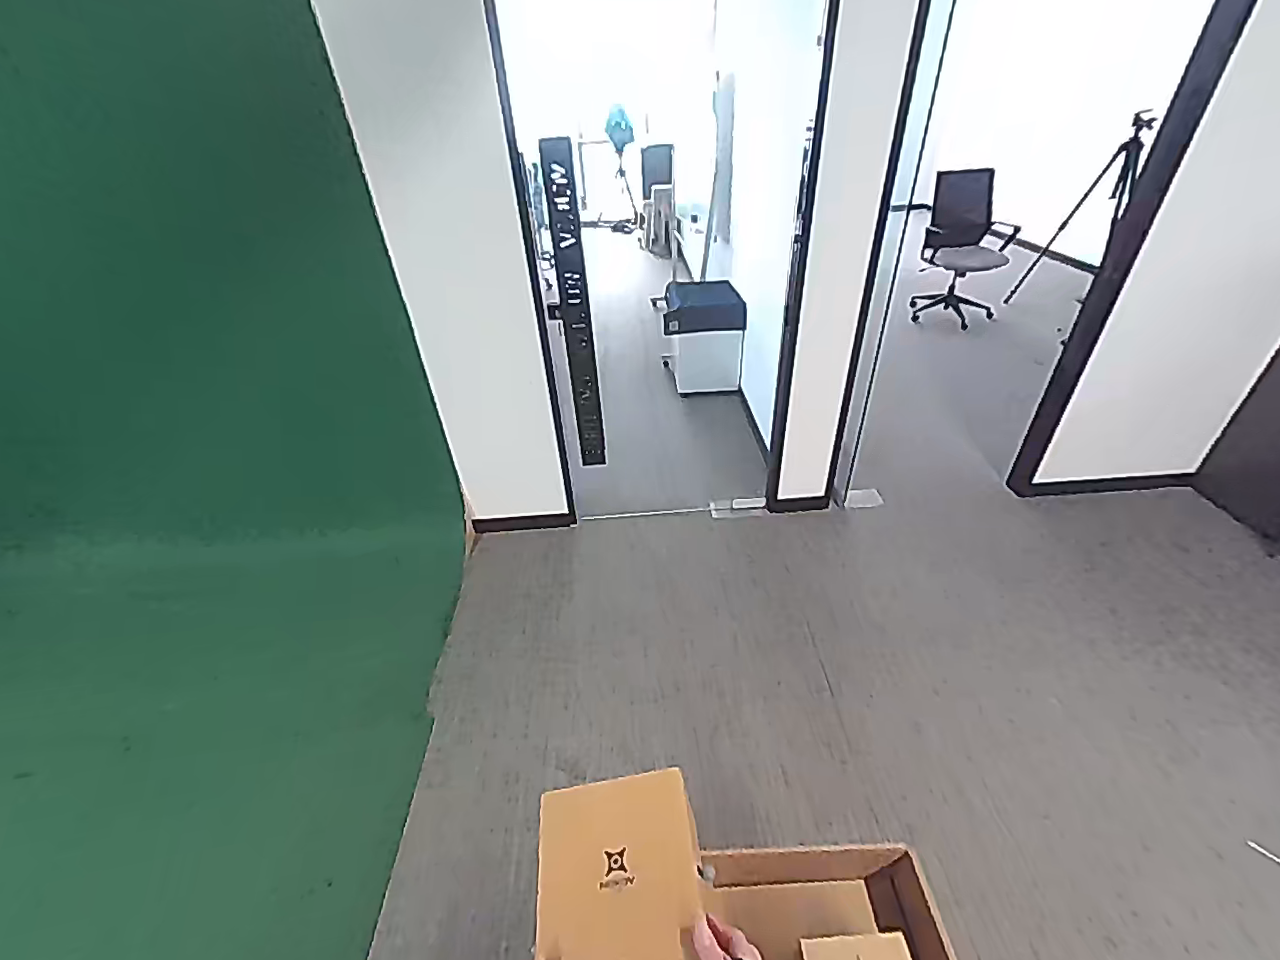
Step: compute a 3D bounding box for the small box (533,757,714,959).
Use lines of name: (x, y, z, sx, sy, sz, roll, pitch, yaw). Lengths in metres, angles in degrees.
small box: (-0.015, 0.445, 0.603, 0.168, 0.176, 0.179, -10, 39, 0)
